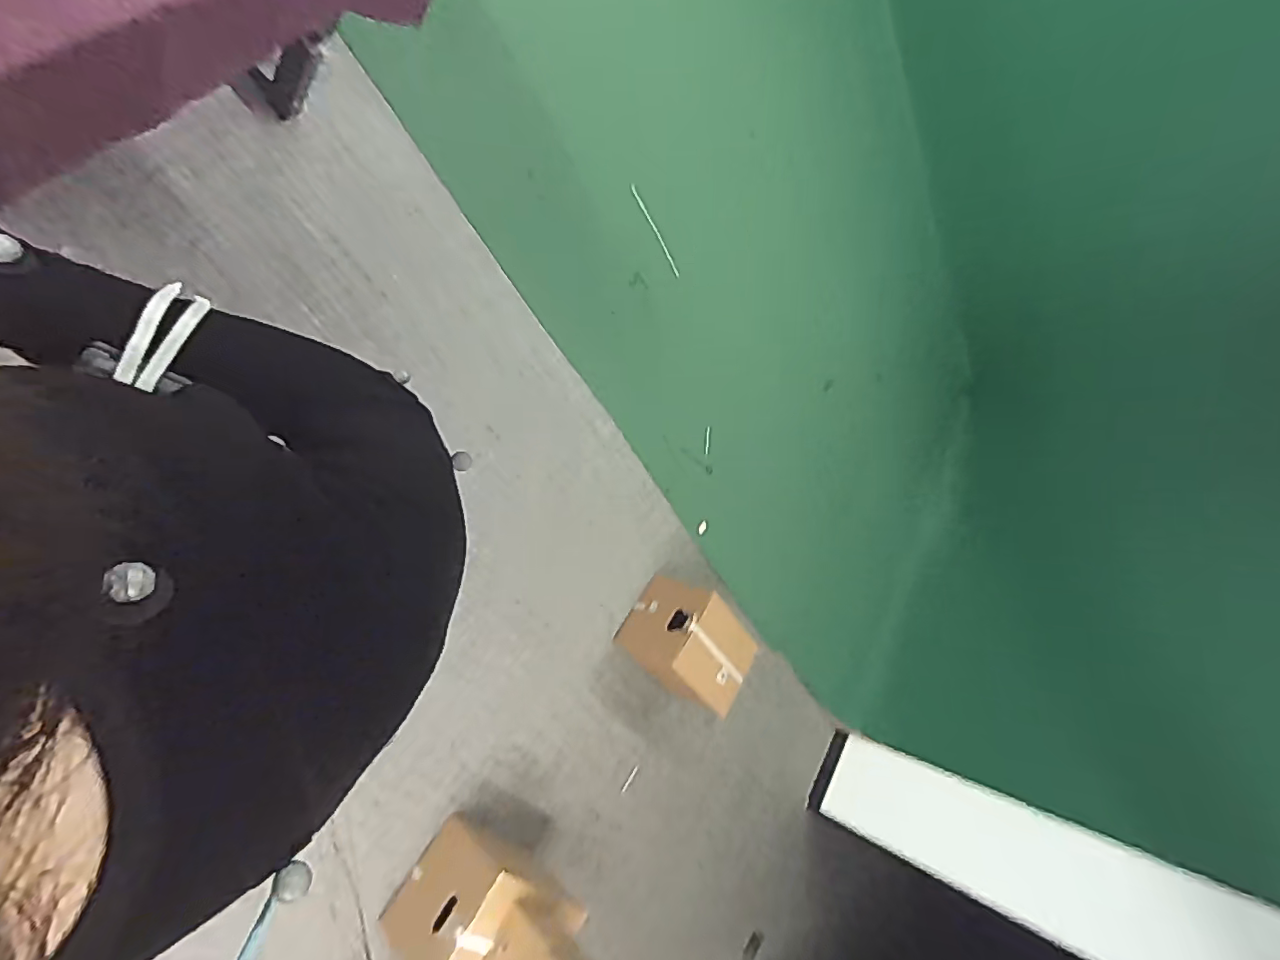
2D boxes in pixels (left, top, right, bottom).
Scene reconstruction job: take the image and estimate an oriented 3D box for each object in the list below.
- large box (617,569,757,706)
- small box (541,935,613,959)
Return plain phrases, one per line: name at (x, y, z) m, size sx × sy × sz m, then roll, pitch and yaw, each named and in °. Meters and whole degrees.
large box at (0.188, 0.599, 2.091) m, size 0.320 × 0.320 × 0.408 m, roll -54°, pitch 126°, yaw -25°
small box at (-0.153, 1.233, 1.291) m, size 0.179 × 0.176 × 0.168 m, roll 43°, pitch 64°, yaw -35°
